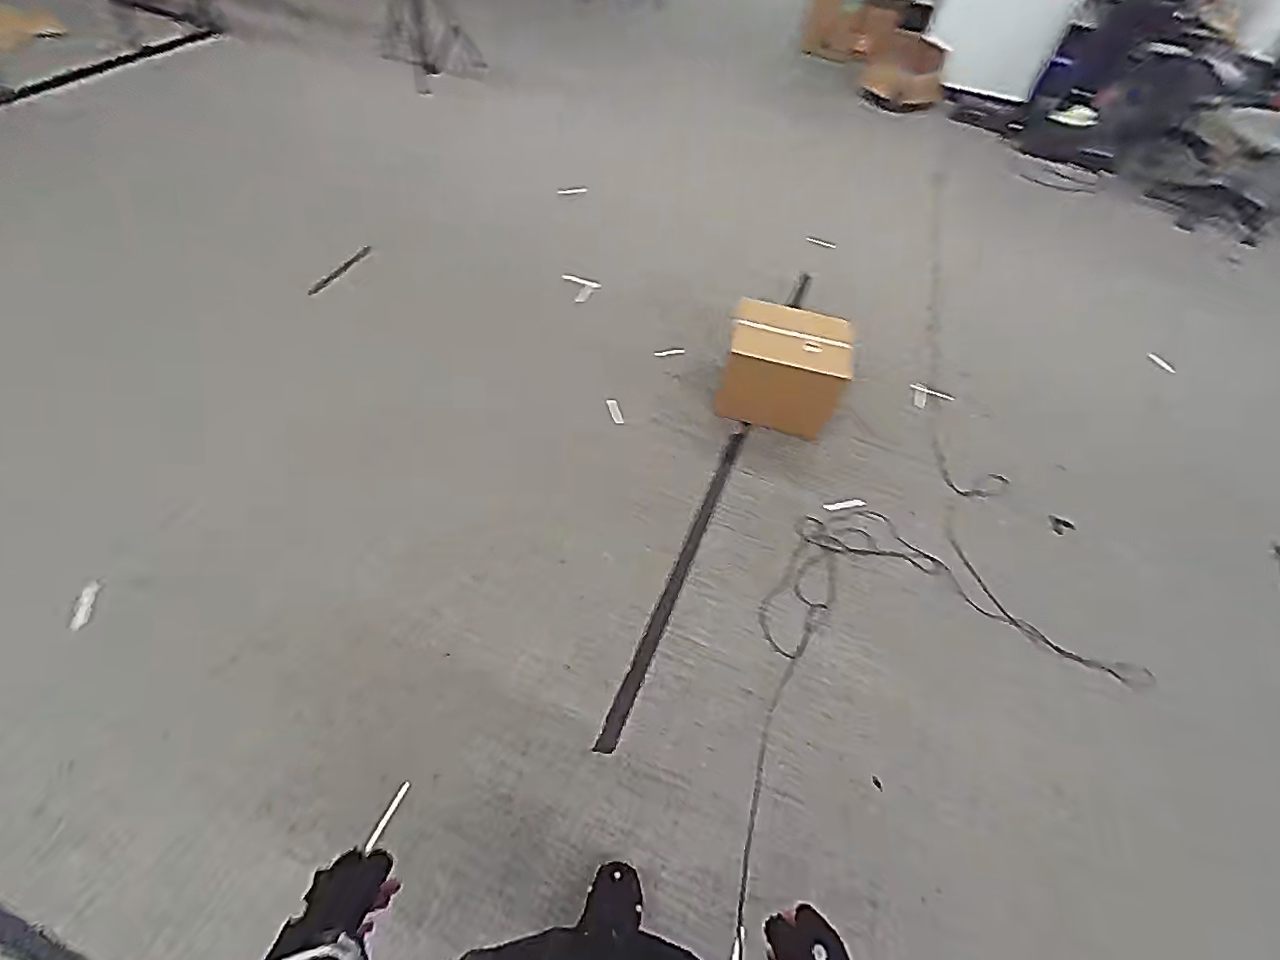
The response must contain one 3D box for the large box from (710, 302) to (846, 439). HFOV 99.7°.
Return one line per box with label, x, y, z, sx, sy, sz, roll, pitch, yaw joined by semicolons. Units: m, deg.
large box;0.497;-0.396;1.981;0.408;0.320;0.320;15;54;4
